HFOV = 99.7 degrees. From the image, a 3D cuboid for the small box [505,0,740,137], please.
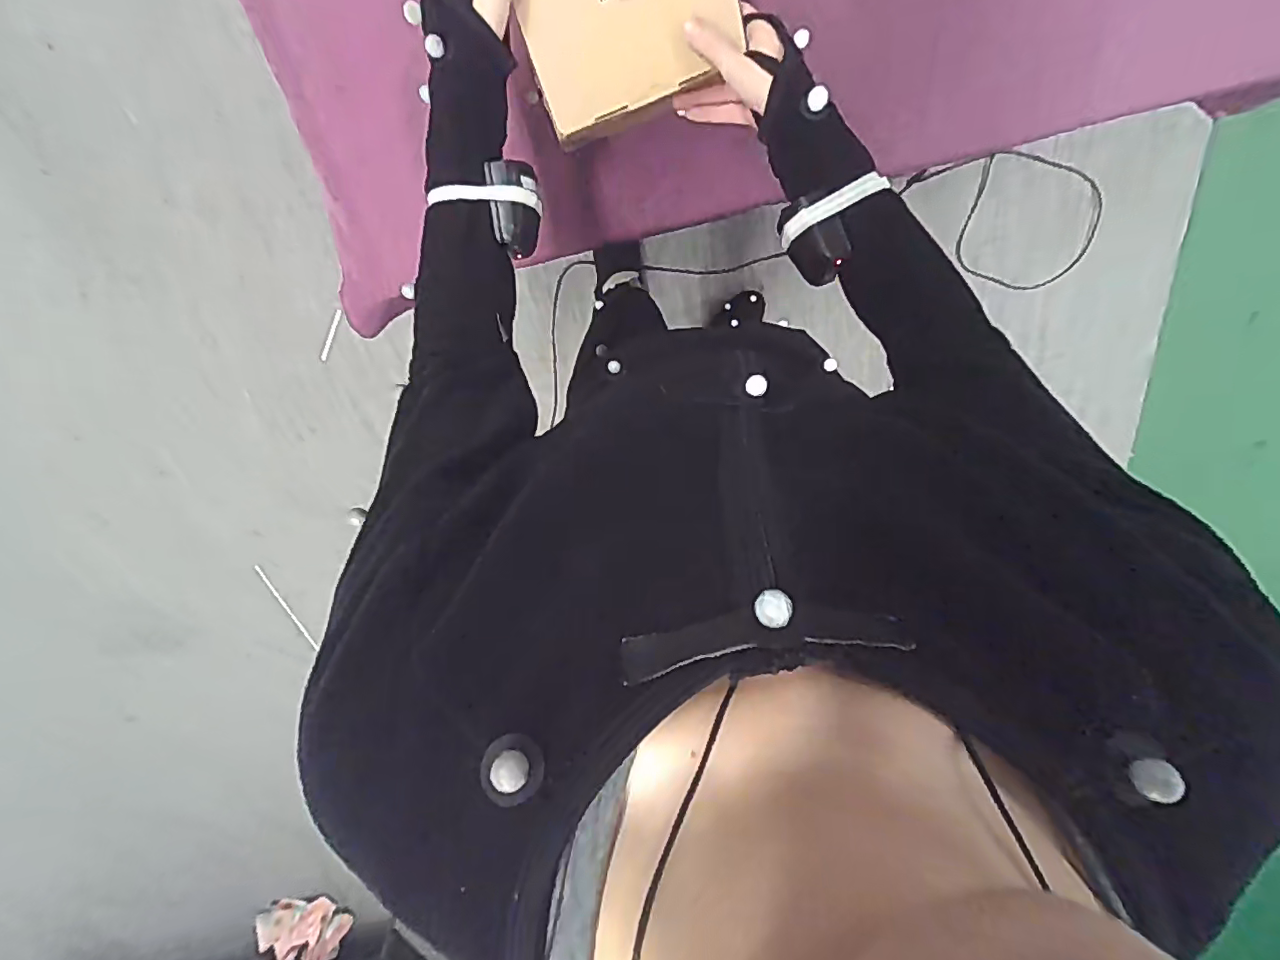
[{"bbox_3d":[-0.030,-0.418,0.464,0.168,0.176,0.179,-20,118,3],"label":"small box"}]
